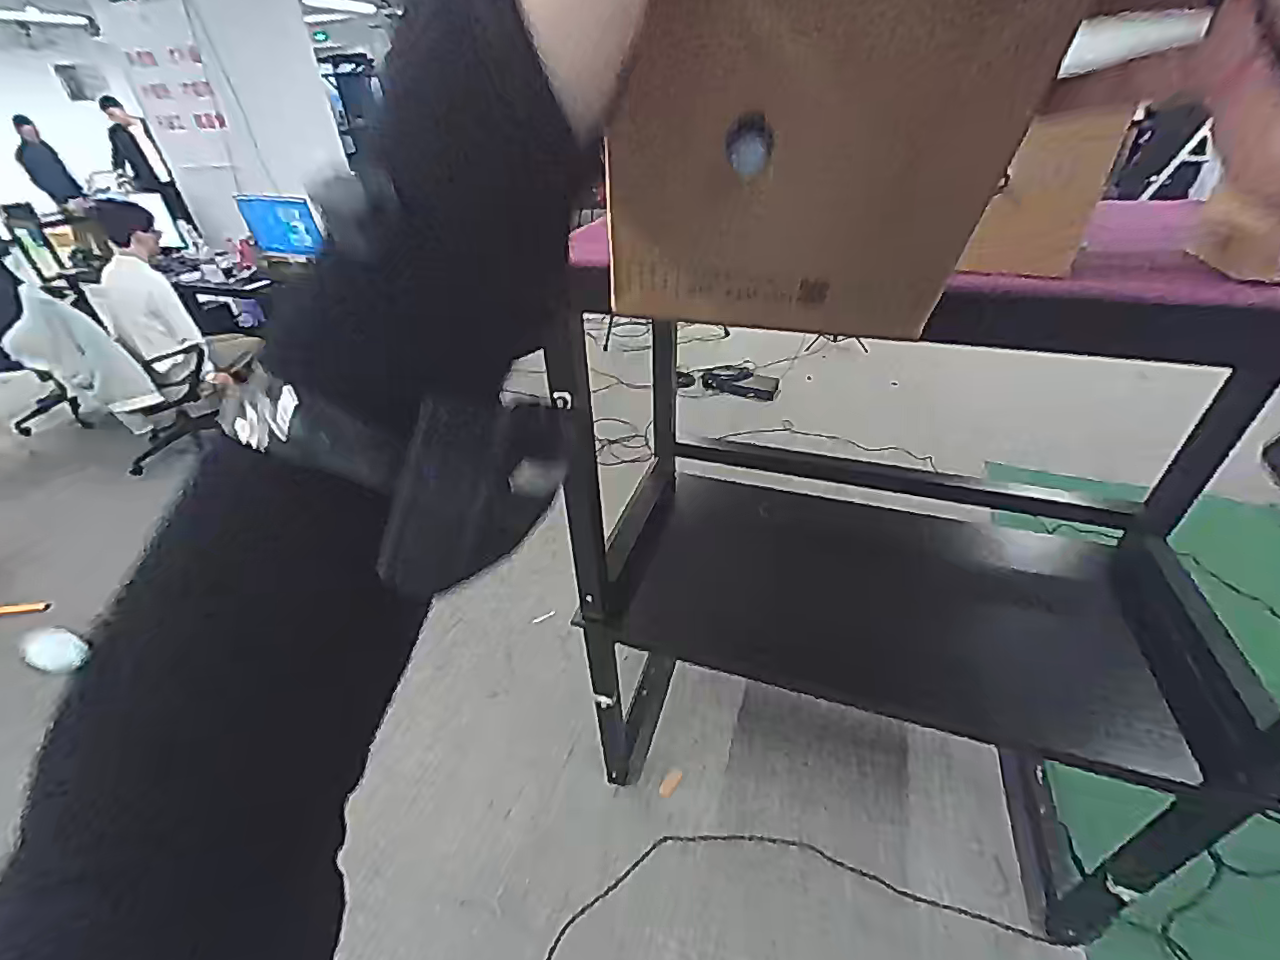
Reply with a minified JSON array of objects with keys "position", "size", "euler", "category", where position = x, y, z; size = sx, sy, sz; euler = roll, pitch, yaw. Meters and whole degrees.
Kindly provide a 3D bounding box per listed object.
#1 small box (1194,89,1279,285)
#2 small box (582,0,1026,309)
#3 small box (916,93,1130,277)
[{"position":[0.718,-0.295,0.543],"size":[0.179,0.176,0.168],"euler":[13,38,22],"category":"small box"},{"position":[0.073,-0.210,0.283],"size":[0.168,0.176,0.179],"euler":[6,53,6],"category":"small box"},{"position":[0.411,-0.343,0.633],"size":[0.179,0.176,0.168],"euler":[12,37,22],"category":"small box"}]
